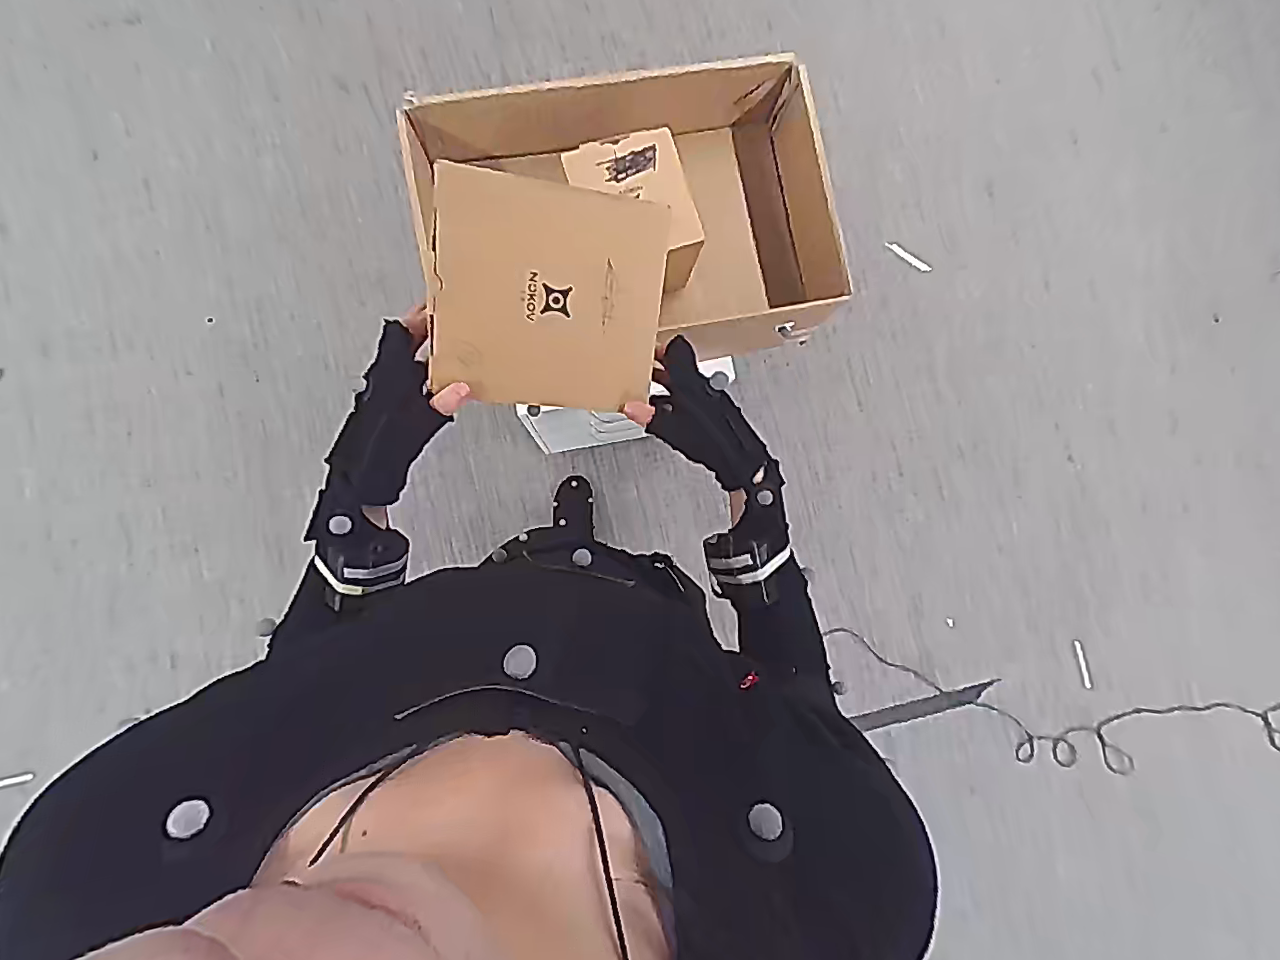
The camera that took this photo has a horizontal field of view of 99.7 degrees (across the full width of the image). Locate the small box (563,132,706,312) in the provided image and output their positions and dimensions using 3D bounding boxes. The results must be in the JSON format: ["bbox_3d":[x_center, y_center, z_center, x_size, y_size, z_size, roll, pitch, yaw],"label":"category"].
[{"bbox_3d":[-0.017,-0.391,0.846,0.168,0.176,0.179,-18,89,-6],"label":"small box"}]
